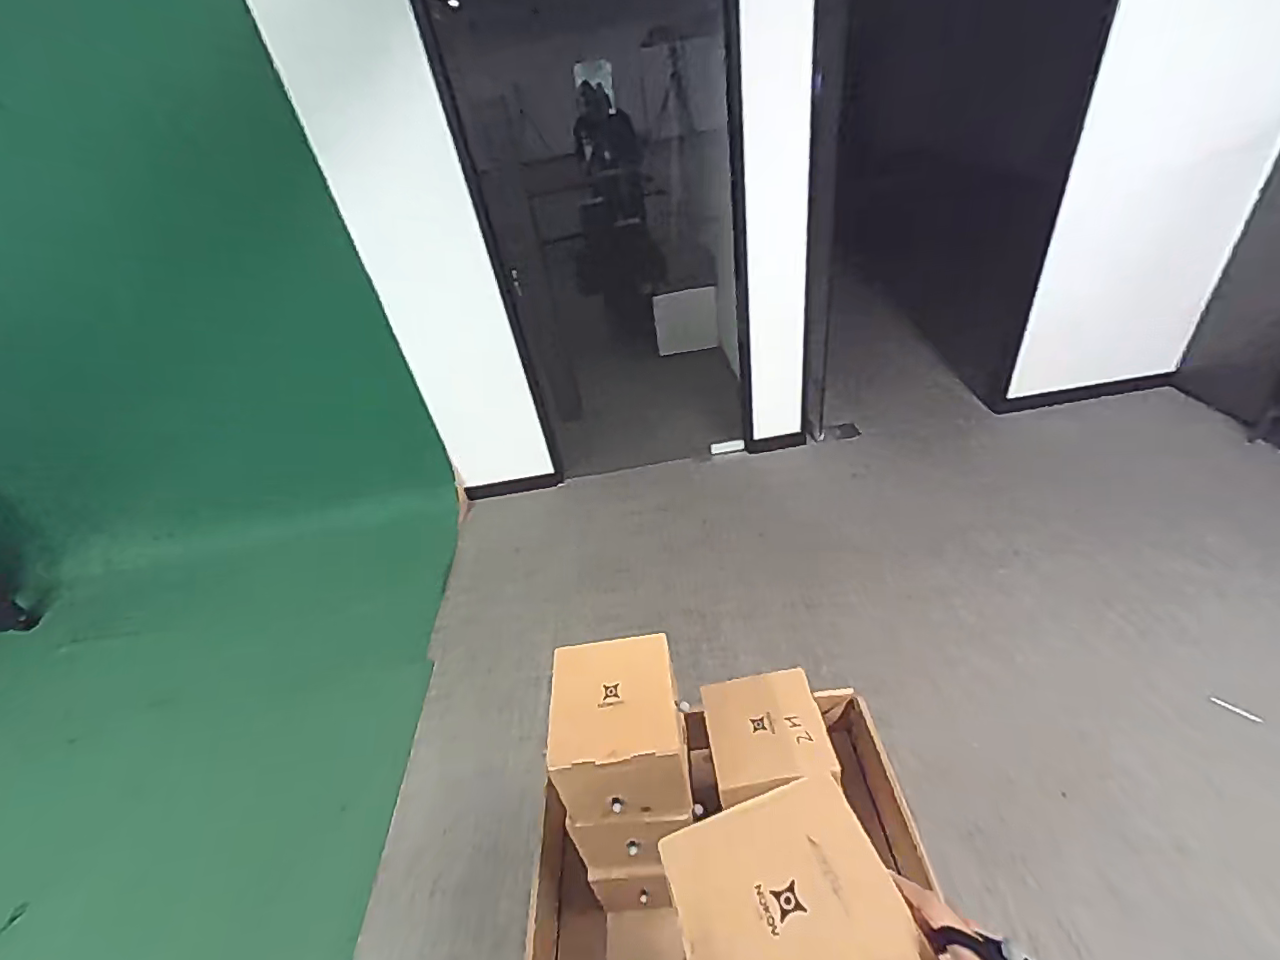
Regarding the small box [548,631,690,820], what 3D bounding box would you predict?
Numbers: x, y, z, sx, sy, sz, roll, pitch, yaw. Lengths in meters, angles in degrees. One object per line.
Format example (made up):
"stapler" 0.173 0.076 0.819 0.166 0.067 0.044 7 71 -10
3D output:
"small box" -0.025 0.345 0.764 0.168 0.176 0.179 -9 37 2
